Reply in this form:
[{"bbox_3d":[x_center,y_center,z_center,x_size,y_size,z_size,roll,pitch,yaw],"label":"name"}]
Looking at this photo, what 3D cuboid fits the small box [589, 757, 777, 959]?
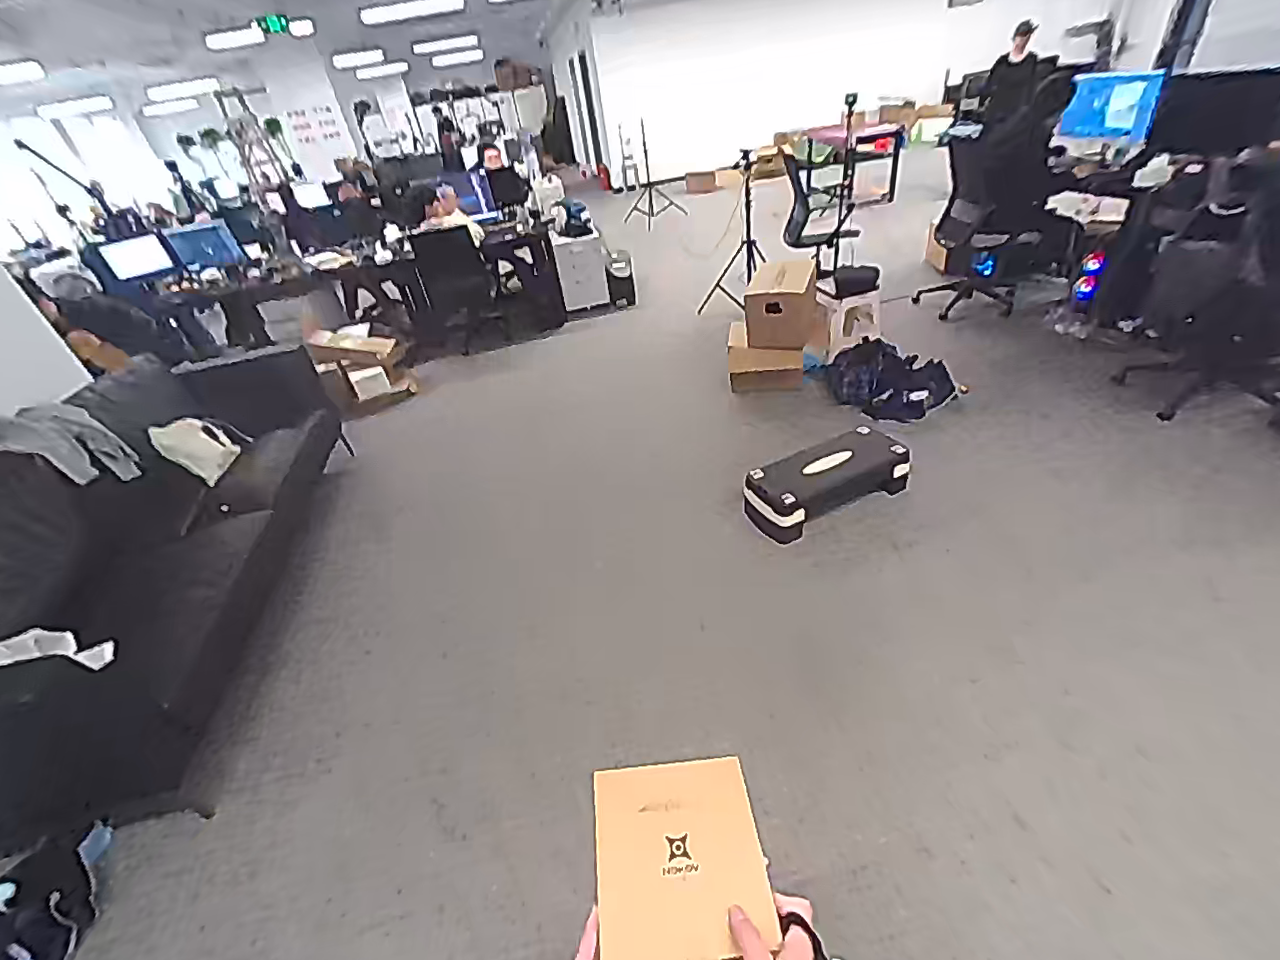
[{"bbox_3d":[0.035,0.431,0.579,0.168,0.176,0.179,-5,37,-4],"label":"small box"}]
